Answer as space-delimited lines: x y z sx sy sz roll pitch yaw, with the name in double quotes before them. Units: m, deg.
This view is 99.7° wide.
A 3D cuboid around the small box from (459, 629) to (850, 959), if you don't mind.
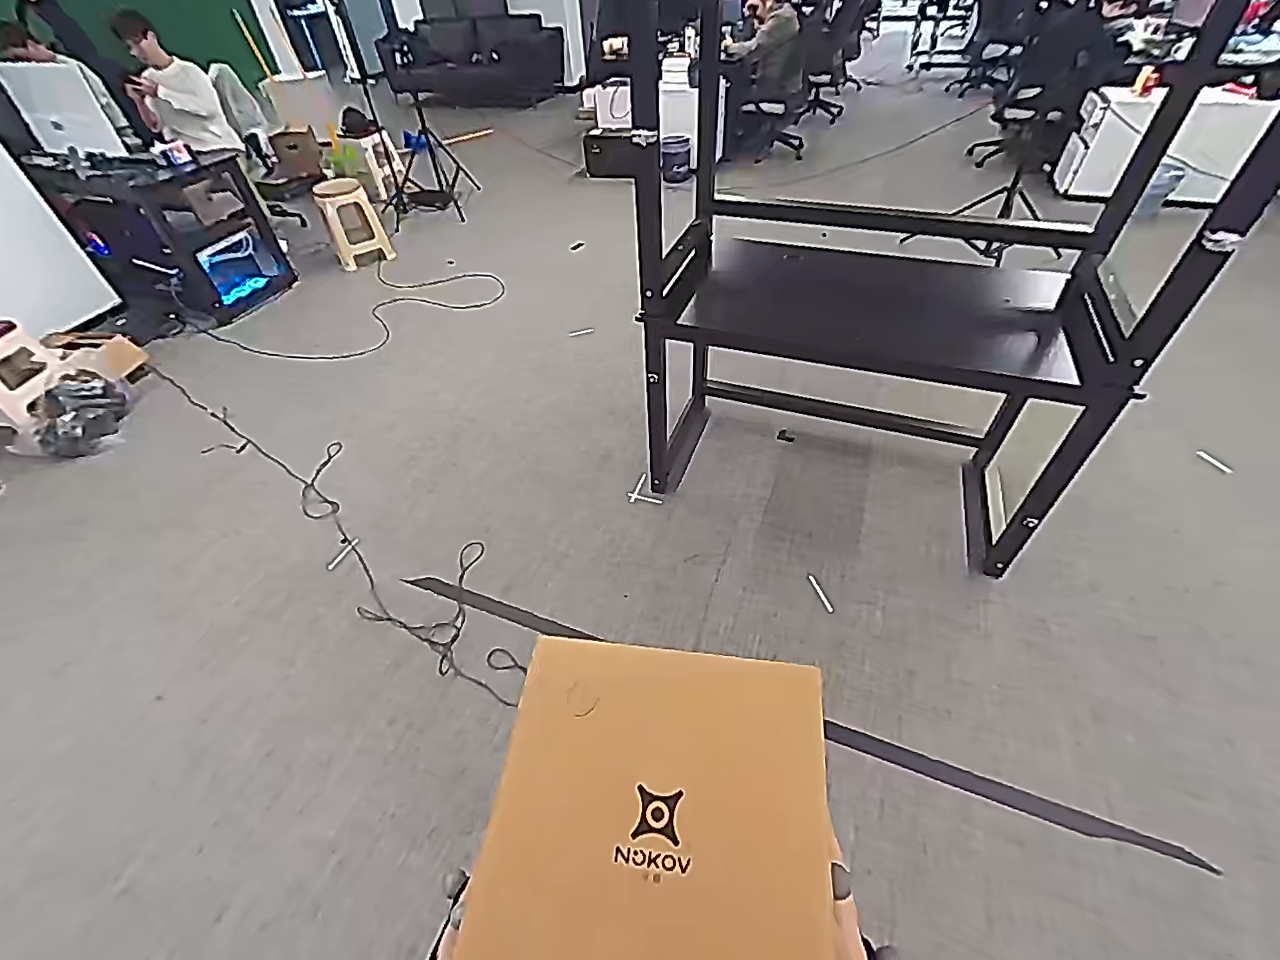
"small box" 0.016 0.210 0.321 0.168 0.176 0.179 4 54 7
